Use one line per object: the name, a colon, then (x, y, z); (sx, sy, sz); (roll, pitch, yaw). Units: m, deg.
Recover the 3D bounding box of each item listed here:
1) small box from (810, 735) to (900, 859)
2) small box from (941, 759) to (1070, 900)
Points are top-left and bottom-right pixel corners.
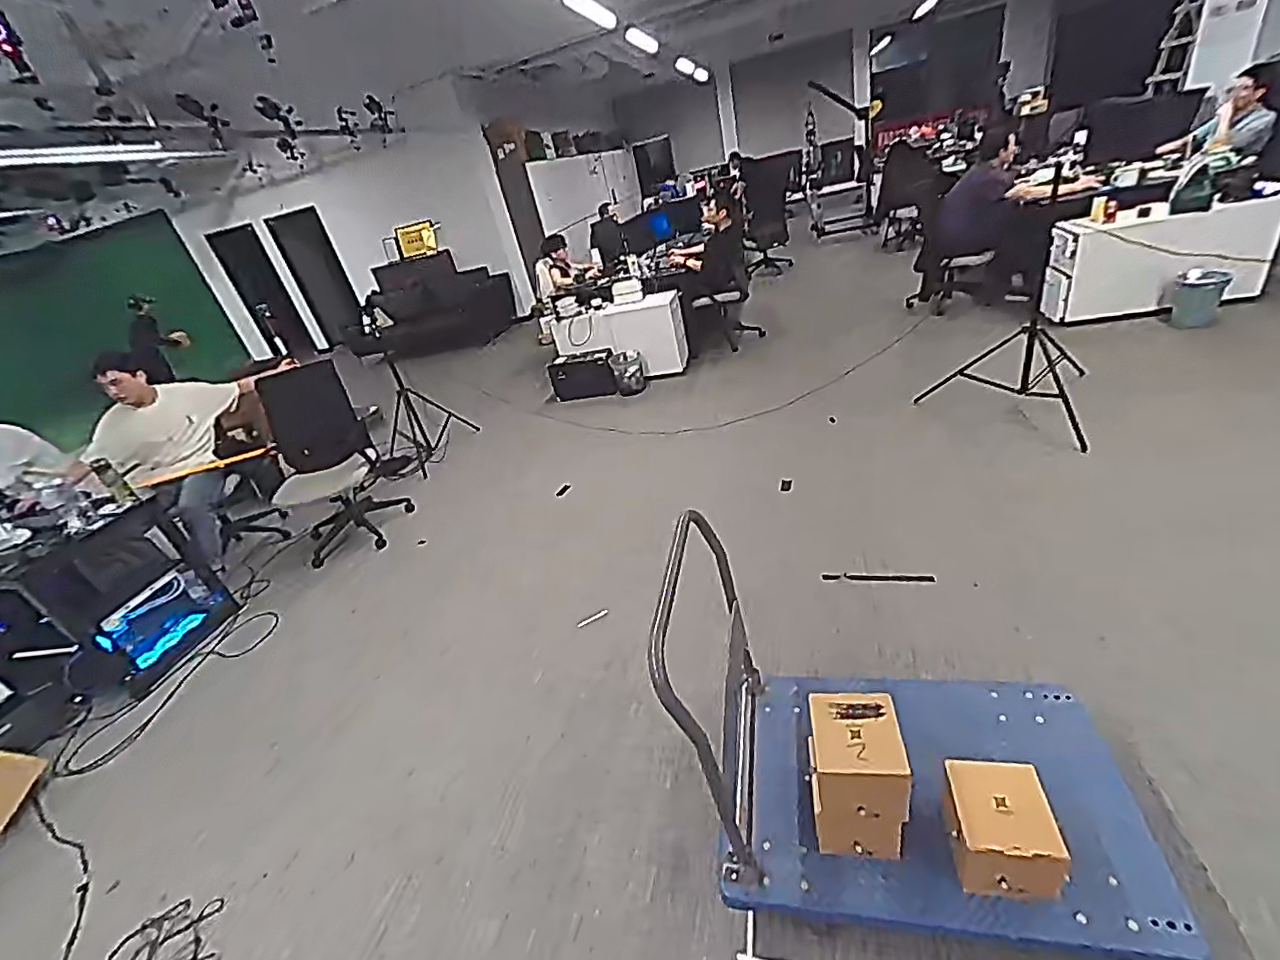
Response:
small box: (0.471, 0.698, 1.199); (0.168, 0.176, 0.179); (-6, 31, 16)
small box: (0.720, 0.699, 1.089); (0.168, 0.176, 0.179); (-5, 31, 17)
